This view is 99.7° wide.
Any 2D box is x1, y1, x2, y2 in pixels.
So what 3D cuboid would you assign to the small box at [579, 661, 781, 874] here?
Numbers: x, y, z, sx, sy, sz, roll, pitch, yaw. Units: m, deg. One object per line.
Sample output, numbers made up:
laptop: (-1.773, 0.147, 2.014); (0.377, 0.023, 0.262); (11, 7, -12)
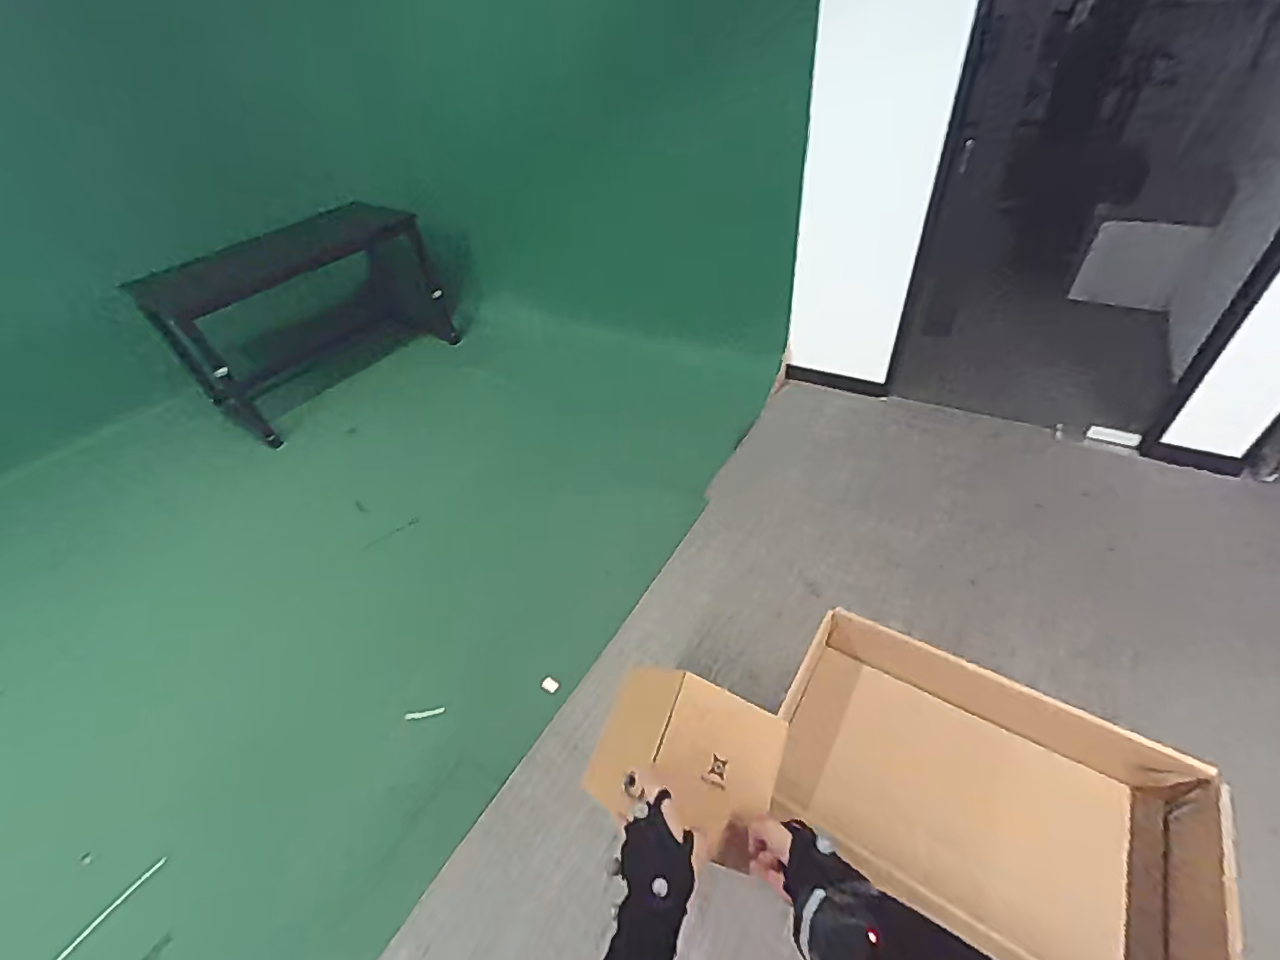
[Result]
small box: (0.043, 0.348, 0.691); (0.168, 0.176, 0.179); (33, 67, -16)
